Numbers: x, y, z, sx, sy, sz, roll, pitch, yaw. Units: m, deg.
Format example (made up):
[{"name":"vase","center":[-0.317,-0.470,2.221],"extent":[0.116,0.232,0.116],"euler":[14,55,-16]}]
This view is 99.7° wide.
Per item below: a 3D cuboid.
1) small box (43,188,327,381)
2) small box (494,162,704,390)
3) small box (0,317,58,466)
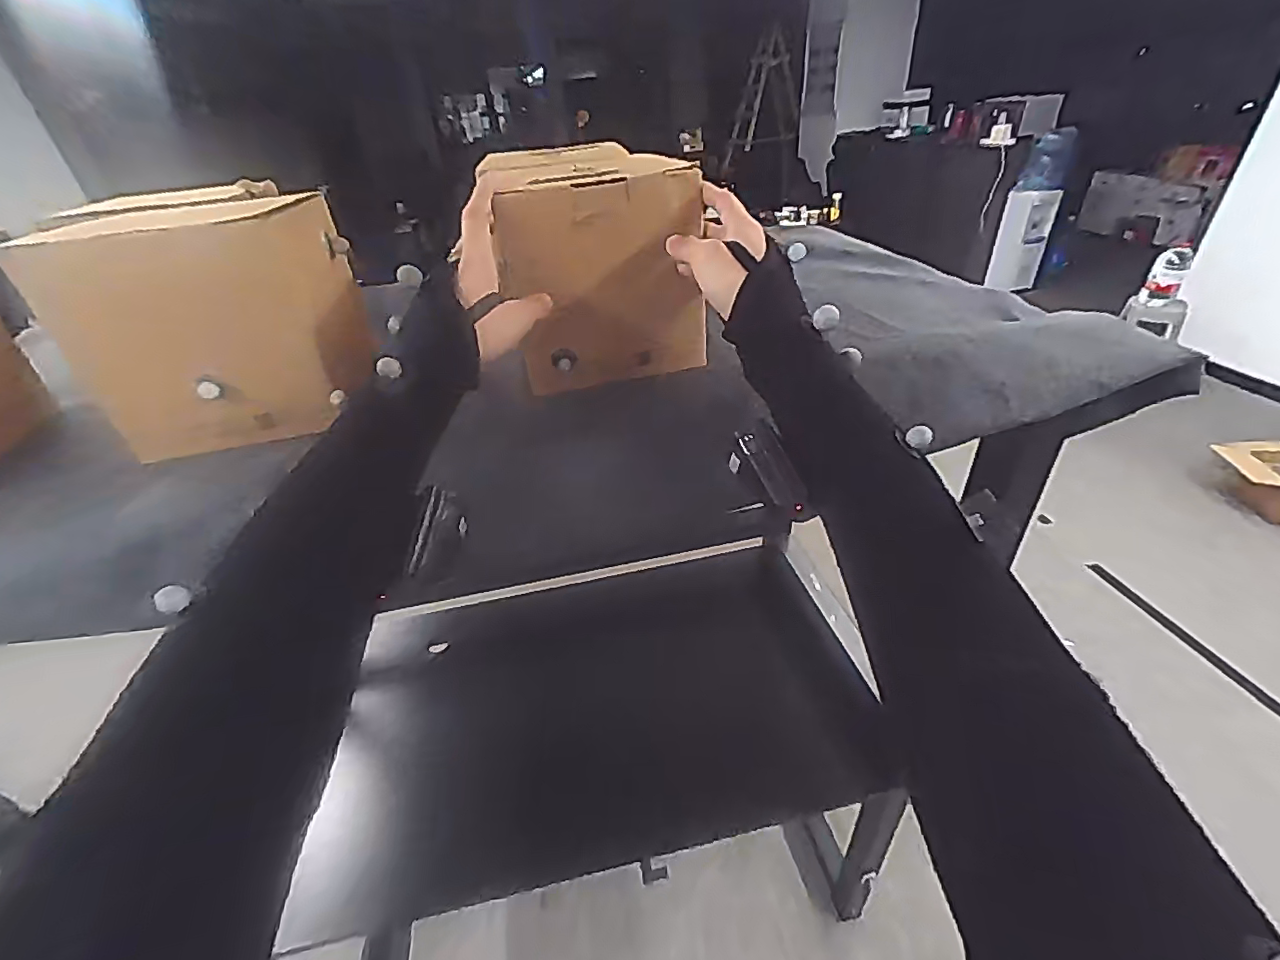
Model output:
[{"name":"small box","center":[-0.503,-0.234,0.640],"extent":[0.179,0.176,0.168],"euler":[-12,36,-10]},{"name":"small box","center":[-0.040,-0.197,0.525],"extent":[0.168,0.176,0.179],"euler":[-12,35,-9]},{"name":"small box","center":[-0.643,-0.072,0.430],"extent":[0.168,0.176,0.179],"euler":[-12,35,-10]}]
